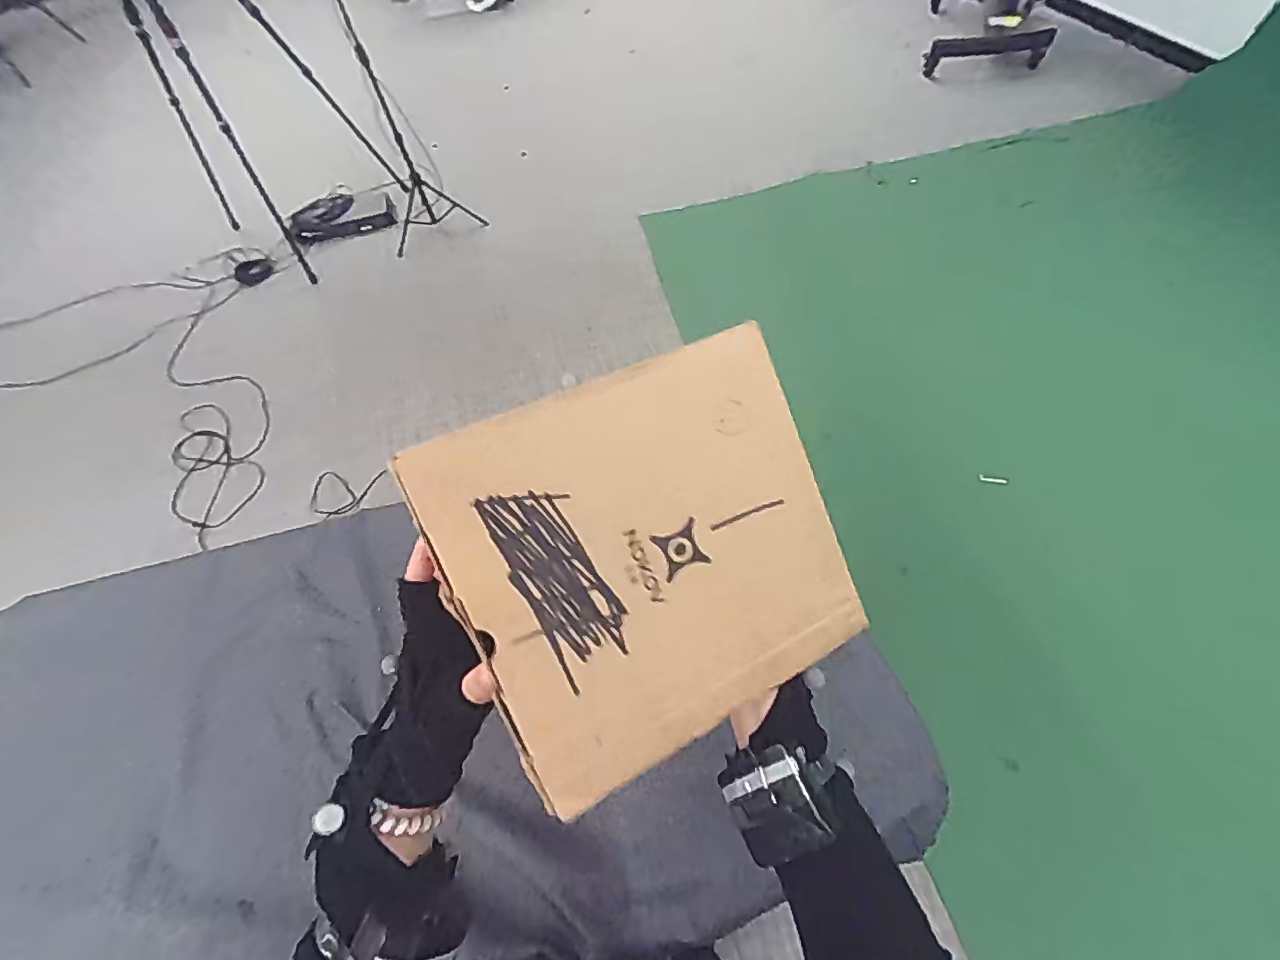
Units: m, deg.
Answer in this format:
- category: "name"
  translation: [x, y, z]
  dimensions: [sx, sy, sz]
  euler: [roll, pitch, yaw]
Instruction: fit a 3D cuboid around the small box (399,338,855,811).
- category: "small box"
  translation: [-0.017, 0.038, 0.323]
  dimensions: [0.179, 0.176, 0.168]
  euler: [-25, 98, -18]
